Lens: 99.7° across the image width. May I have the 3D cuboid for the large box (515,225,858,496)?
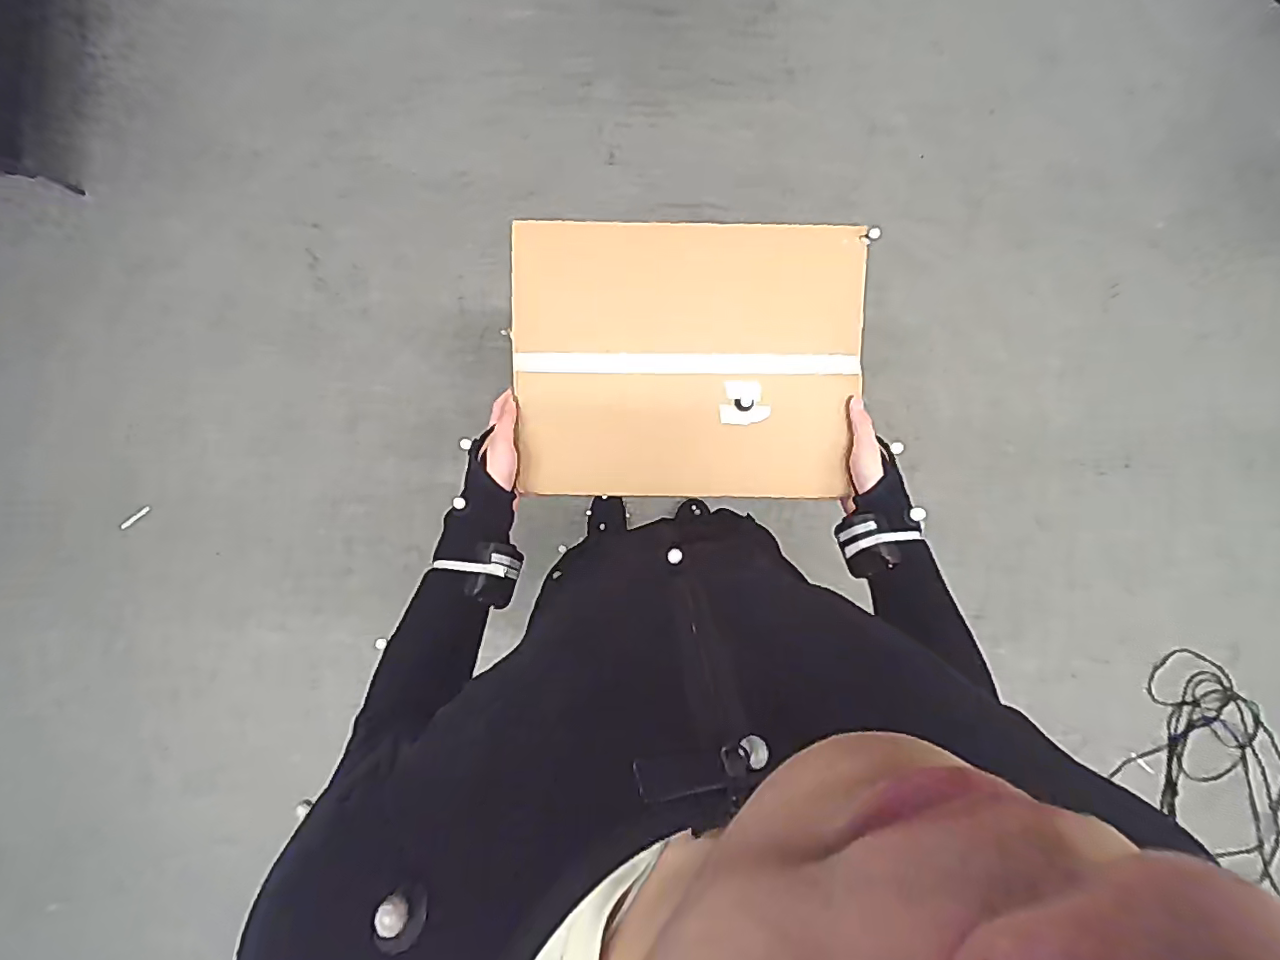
[{"bbox_3d":[0.053,-0.154,0.784,0.408,0.320,0.320,-1,97,-1],"label":"large box"}]
